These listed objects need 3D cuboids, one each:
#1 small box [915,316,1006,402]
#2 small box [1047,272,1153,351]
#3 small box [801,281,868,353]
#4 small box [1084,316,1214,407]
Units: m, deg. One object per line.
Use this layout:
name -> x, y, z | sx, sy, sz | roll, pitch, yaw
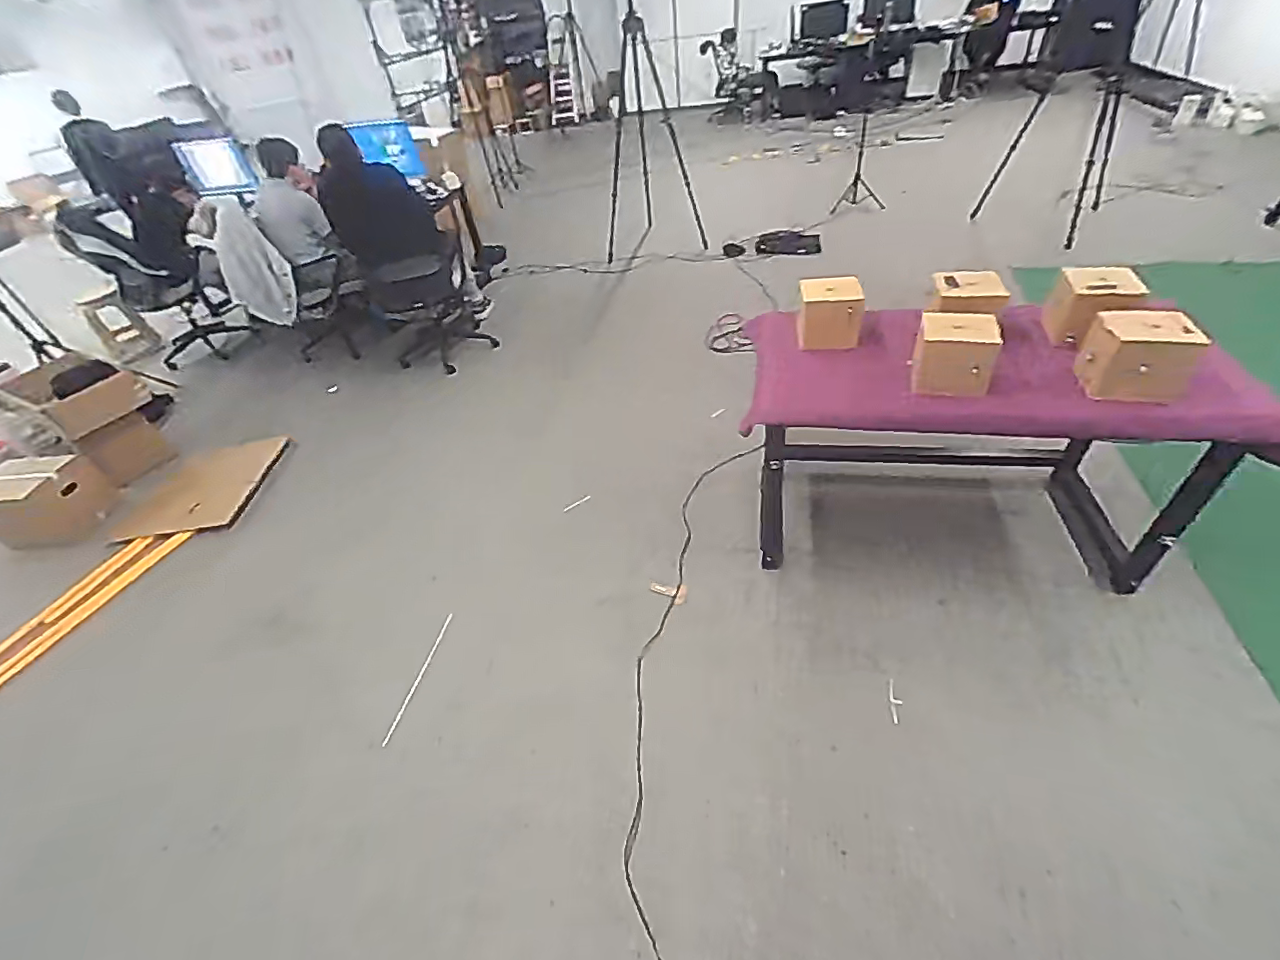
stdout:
small box -> 0.858, -0.327, 1.462 | 0.179, 0.176, 0.168 | 8, 43, 20
small box -> 1.303, -0.479, 1.547 | 0.168, 0.176, 0.179 | 7, 44, 18
small box -> 0.610, -0.515, 1.716 | 0.179, 0.176, 0.168 | 1, 43, 10
small box -> 1.252, -0.296, 1.352 | 0.179, 0.176, 0.168 | 6, 43, 18
